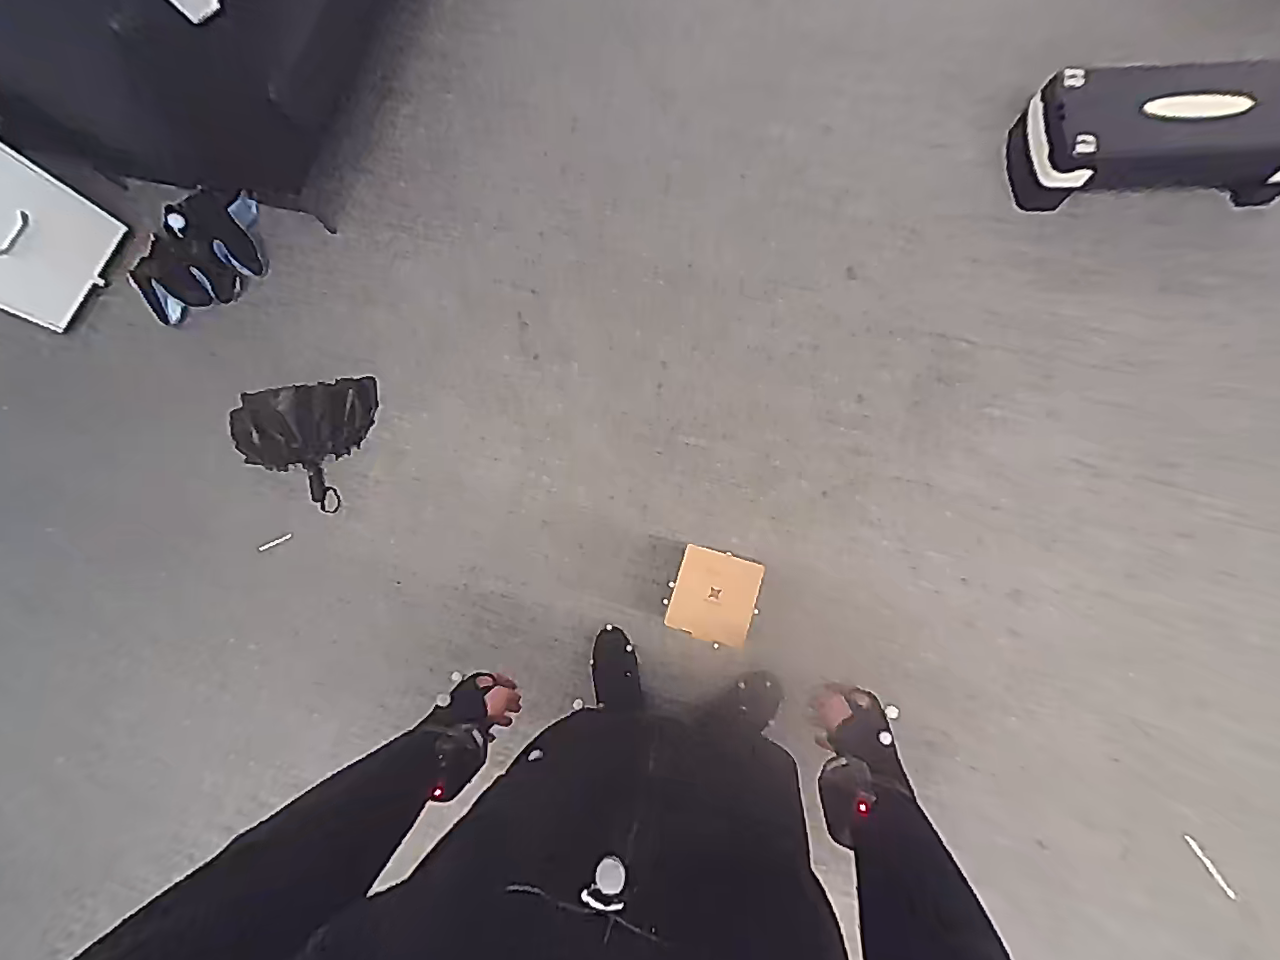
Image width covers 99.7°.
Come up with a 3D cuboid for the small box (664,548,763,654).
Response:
[{"bbox_3d":[0.156,0.261,1.173,0.168,0.176,0.179,16,78,7],"label":"small box"}]
